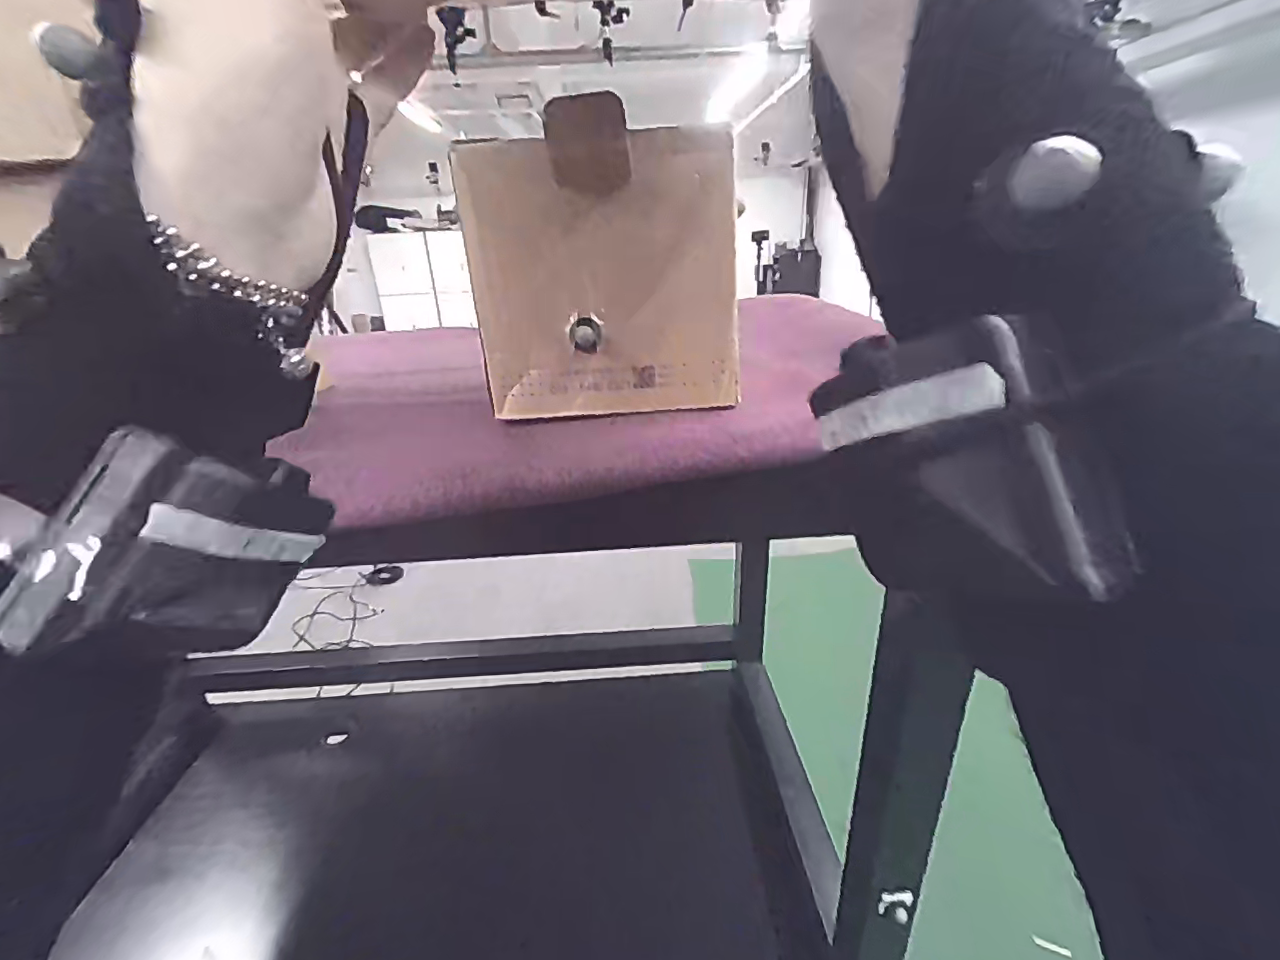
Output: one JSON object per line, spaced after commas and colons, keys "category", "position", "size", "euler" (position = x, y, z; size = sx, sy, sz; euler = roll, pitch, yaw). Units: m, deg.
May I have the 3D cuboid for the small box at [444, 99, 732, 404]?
{"category": "small box", "position": [-0.024, -0.158, 0.407], "size": [0.168, 0.176, 0.179], "euler": [-4, 22, 2]}

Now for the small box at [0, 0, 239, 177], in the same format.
{"category": "small box", "position": [-0.398, -0.283, 0.335], "size": [0.168, 0.176, 0.179], "euler": [-5, 23, -5]}
